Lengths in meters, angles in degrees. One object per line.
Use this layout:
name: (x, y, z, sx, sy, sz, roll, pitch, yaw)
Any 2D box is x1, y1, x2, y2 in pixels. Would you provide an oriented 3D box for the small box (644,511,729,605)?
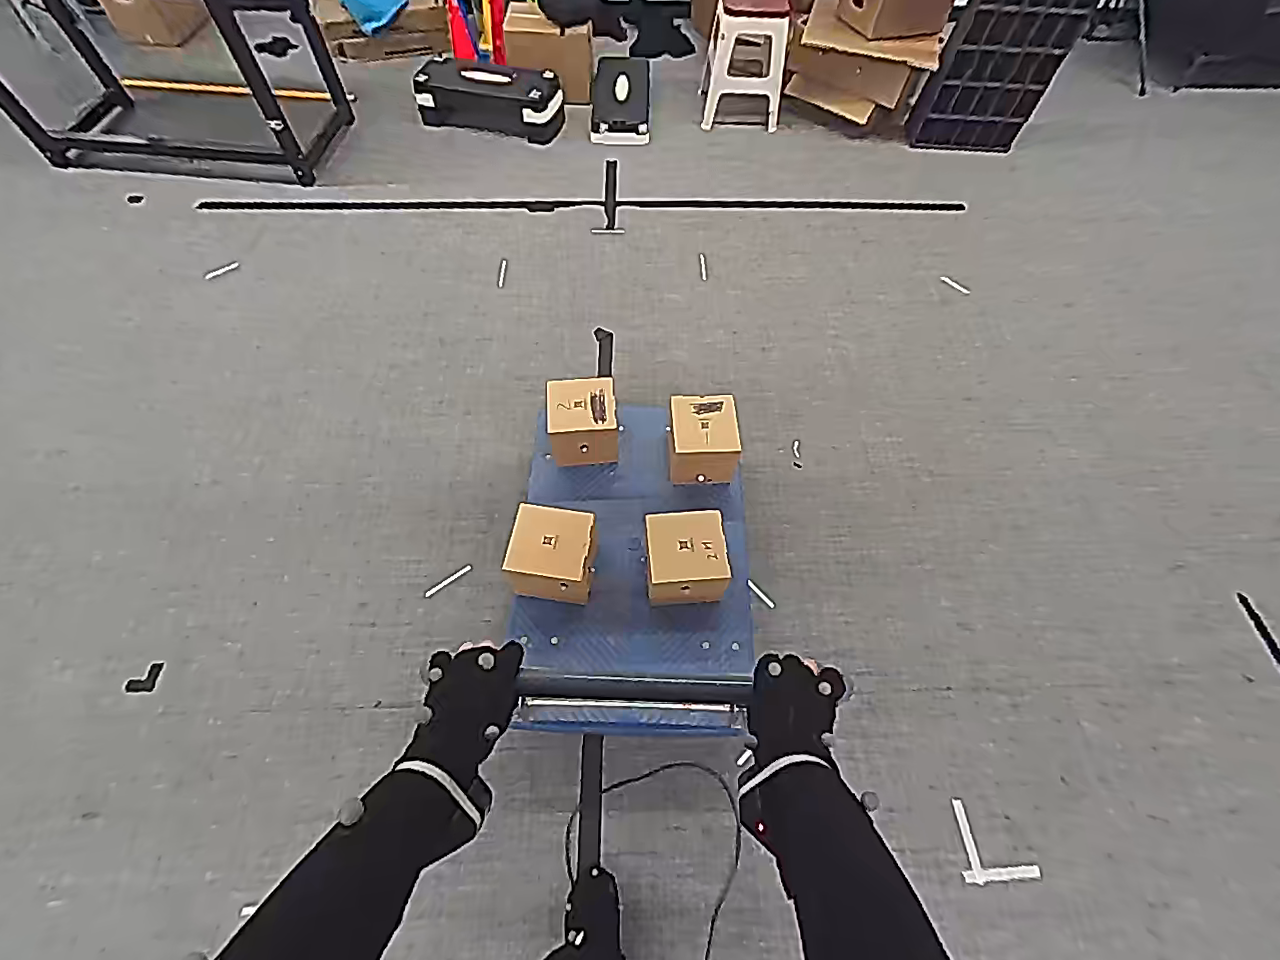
small box: (0.101, 0.186, 1.262, 0.179, 0.176, 0.168, -3, 61, -3)

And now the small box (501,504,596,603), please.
small box: (-0.204, 0.176, 1.260, 0.179, 0.176, 0.168, 8, 60, 1)

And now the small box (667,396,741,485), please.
small box: (0.161, -0.102, 1.426, 0.168, 0.176, 0.179, -2, 62, -2)
